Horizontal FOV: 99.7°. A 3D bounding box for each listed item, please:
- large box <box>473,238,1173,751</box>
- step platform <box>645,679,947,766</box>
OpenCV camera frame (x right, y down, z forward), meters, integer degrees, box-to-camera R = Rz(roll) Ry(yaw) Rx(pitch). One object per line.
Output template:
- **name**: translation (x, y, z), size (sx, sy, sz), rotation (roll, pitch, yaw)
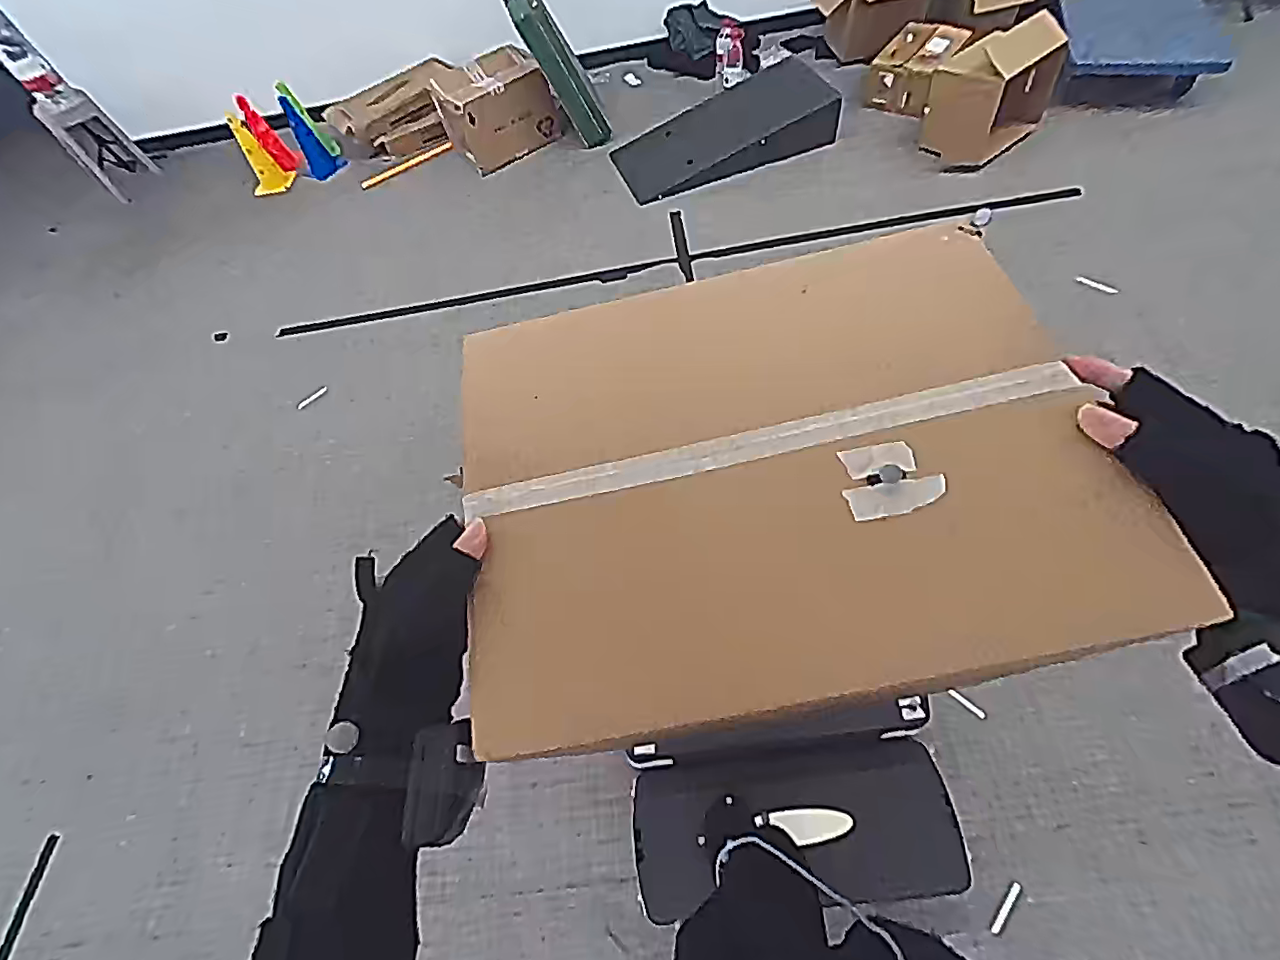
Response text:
- **large box**: translation (0.099, 0.047, 0.507), size (0.408, 0.320, 0.320), rotation (-12, 64, 3)
- **step platform**: translation (0.329, 0.473, 1.275), size (0.684, 0.204, 0.286), rotation (-9, 58, 2)
